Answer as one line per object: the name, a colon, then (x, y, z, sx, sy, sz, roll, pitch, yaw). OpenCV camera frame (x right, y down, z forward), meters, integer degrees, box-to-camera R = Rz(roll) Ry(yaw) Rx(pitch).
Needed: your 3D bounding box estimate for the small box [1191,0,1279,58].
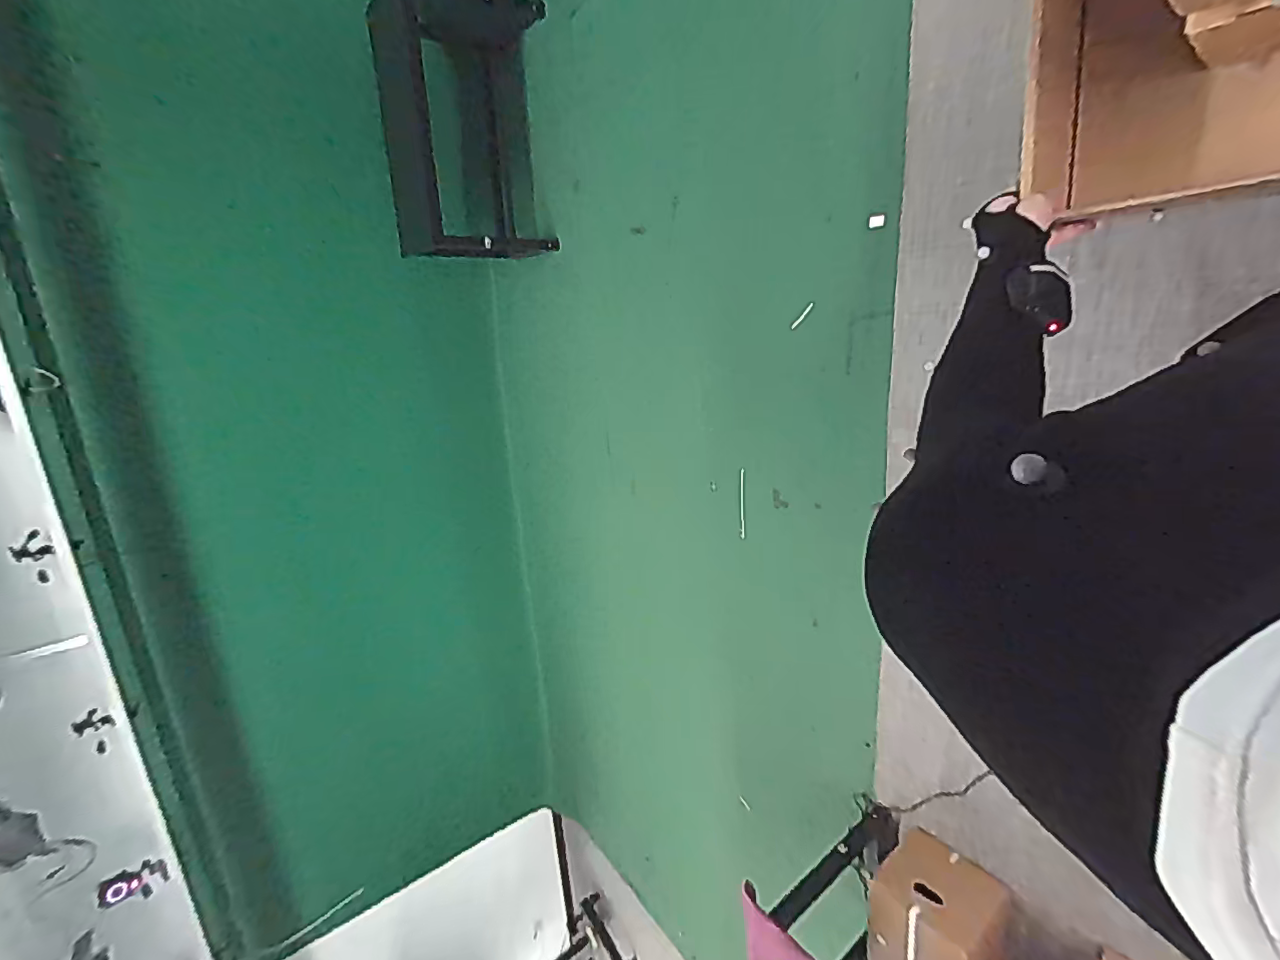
small box: (0.580, -0.480, 0.430, 0.168, 0.176, 0.179, 16, 119, 46)
